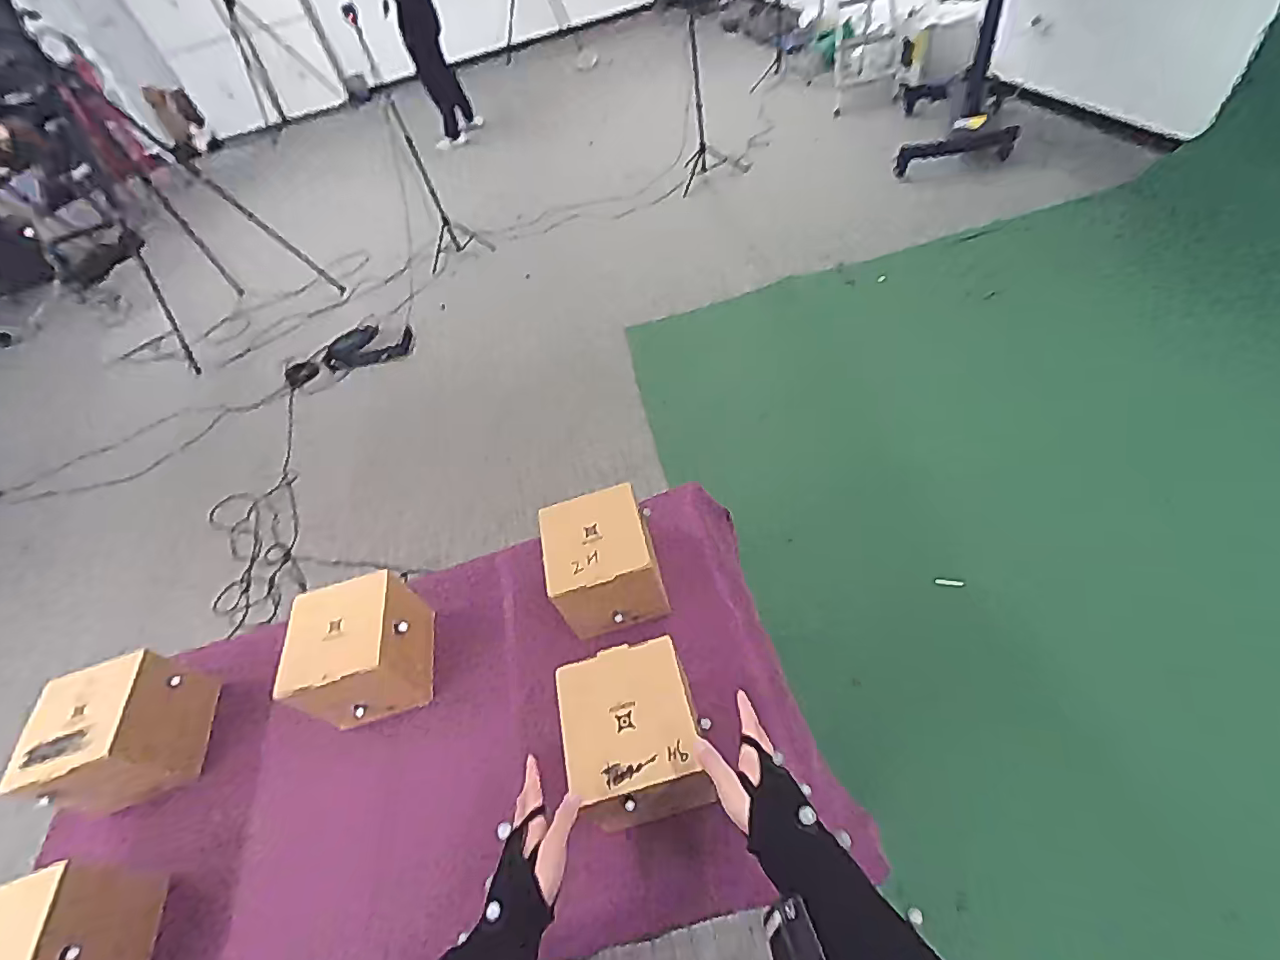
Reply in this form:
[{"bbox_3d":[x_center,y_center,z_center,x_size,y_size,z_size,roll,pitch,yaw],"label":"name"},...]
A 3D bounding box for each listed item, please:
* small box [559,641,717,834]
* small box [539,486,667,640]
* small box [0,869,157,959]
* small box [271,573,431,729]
[{"bbox_3d":[-0.002,0.352,0.737,0.168,0.176,0.179,-17,48,1],"label":"small box"},{"bbox_3d":[-0.061,0.144,0.922,0.168,0.176,0.179,-18,50,2],"label":"small box"},{"bbox_3d":[-0.774,0.630,0.684,0.168,0.176,0.179,-20,47,-4],"label":"small box"},{"bbox_3d":[-0.465,0.288,0.904,0.168,0.176,0.179,-16,50,-1],"label":"small box"}]
